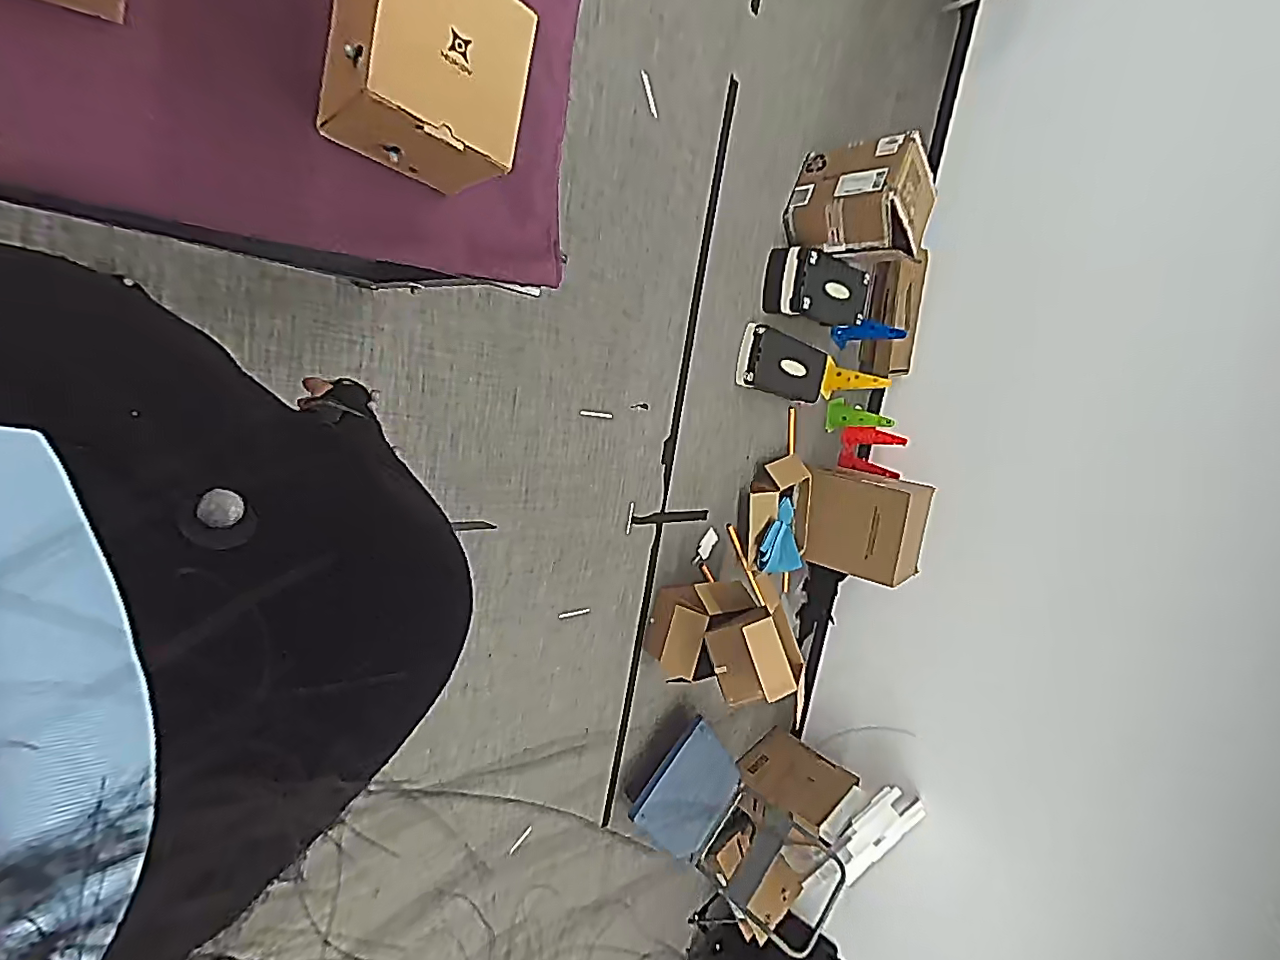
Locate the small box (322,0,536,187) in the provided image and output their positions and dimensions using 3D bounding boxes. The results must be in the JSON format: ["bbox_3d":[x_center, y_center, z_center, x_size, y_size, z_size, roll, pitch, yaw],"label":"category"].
[{"bbox_3d":[-0.247,-0.472,0.625,0.168,0.176,0.179,5,99,-46],"label":"small box"}]
